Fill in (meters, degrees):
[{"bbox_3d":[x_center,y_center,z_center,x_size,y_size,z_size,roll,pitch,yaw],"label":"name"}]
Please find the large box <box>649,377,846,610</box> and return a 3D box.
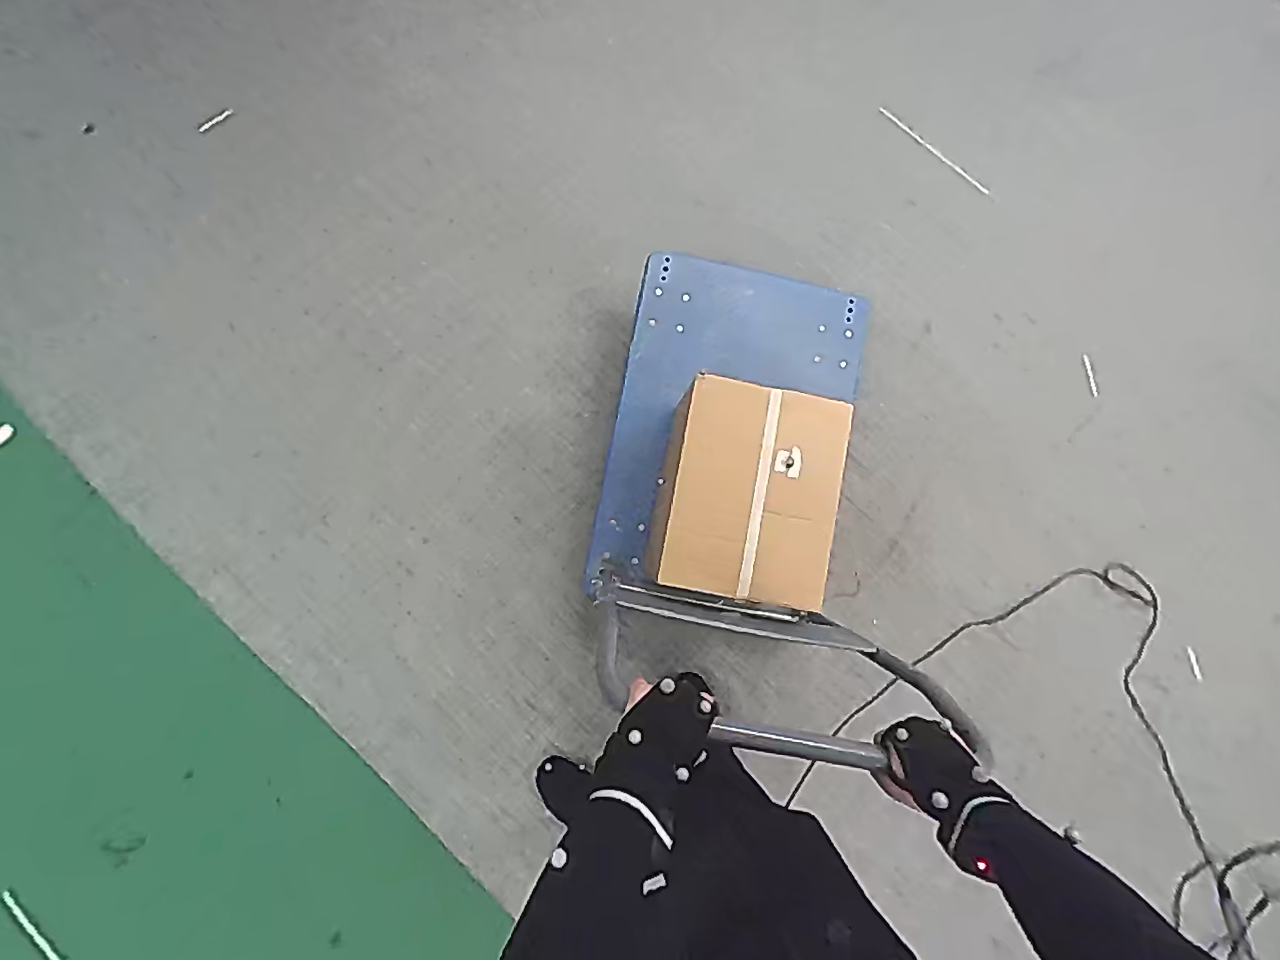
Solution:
[{"bbox_3d":[0.206,0.038,1.160,0.320,0.320,0.408,11,84,-3],"label":"large box"}]
